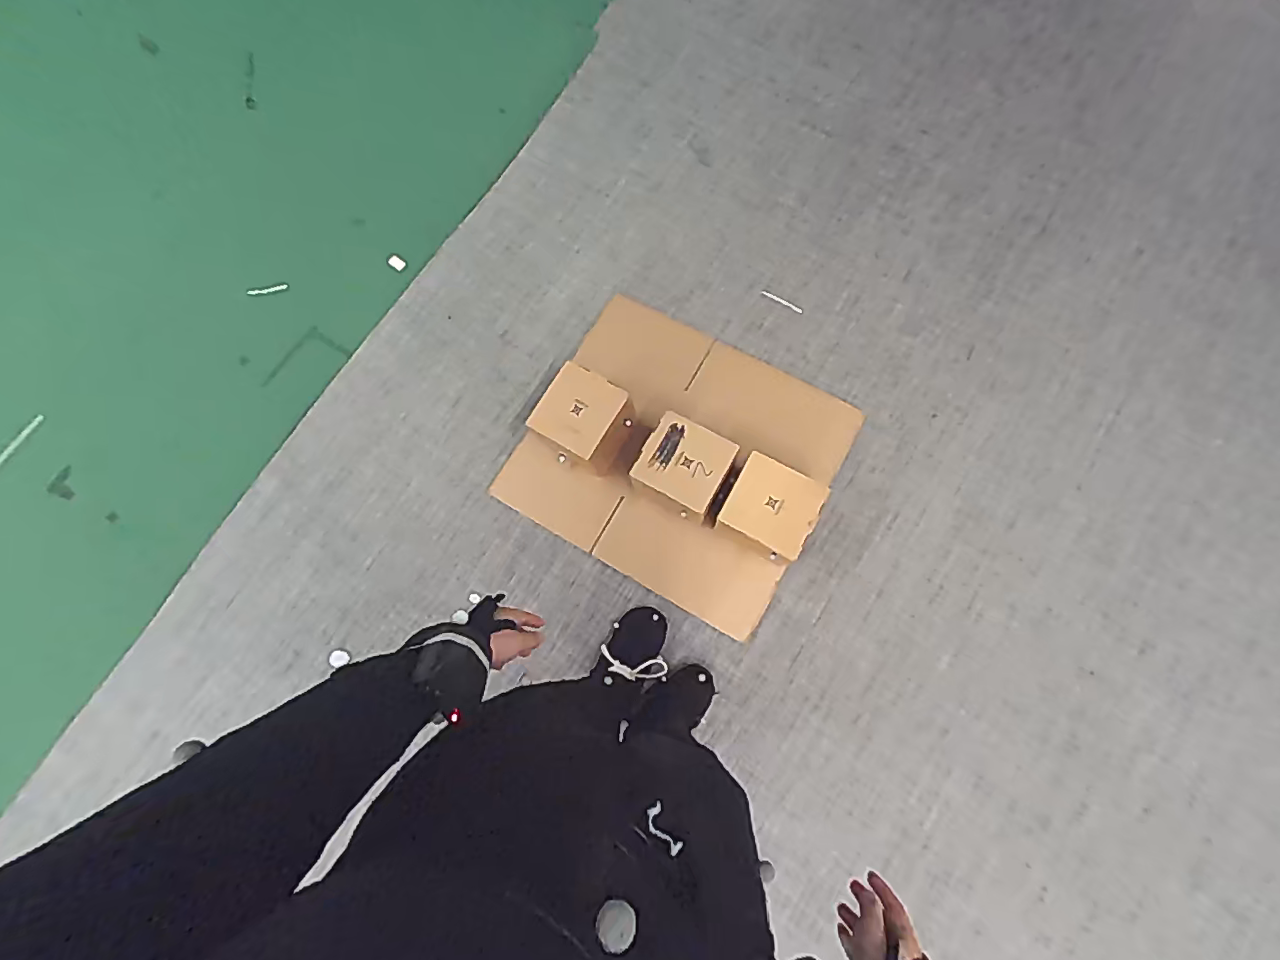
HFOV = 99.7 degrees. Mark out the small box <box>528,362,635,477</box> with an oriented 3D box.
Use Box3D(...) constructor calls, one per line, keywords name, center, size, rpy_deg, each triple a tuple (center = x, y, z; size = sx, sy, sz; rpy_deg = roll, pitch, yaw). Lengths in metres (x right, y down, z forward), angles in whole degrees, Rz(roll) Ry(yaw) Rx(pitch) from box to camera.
Box3D(name="small box", center=(-0.124, -0.131, 1.232), size=(0.168, 0.176, 0.179), rpy_deg=(30, 82, 11))
